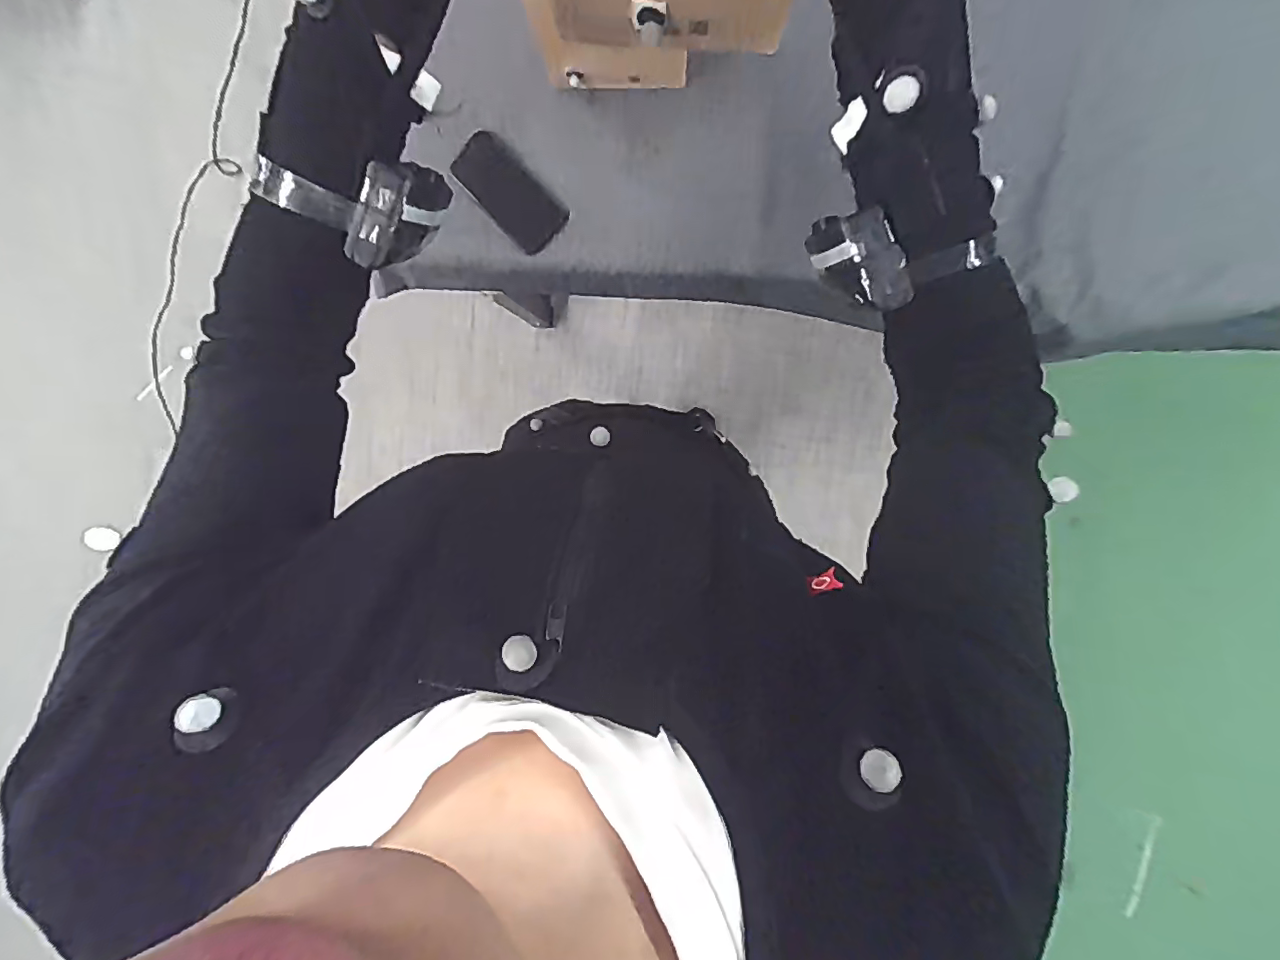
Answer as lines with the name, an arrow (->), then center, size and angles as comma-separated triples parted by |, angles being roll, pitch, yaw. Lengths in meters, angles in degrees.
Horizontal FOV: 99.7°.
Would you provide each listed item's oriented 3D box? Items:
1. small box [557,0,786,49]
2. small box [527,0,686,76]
small box -> 0.022, -0.403, 0.314 | 0.168, 0.176, 0.179 | 3, 99, 1
small box -> -0.029, -0.570, 0.575 | 0.168, 0.176, 0.179 | 2, 97, 2
